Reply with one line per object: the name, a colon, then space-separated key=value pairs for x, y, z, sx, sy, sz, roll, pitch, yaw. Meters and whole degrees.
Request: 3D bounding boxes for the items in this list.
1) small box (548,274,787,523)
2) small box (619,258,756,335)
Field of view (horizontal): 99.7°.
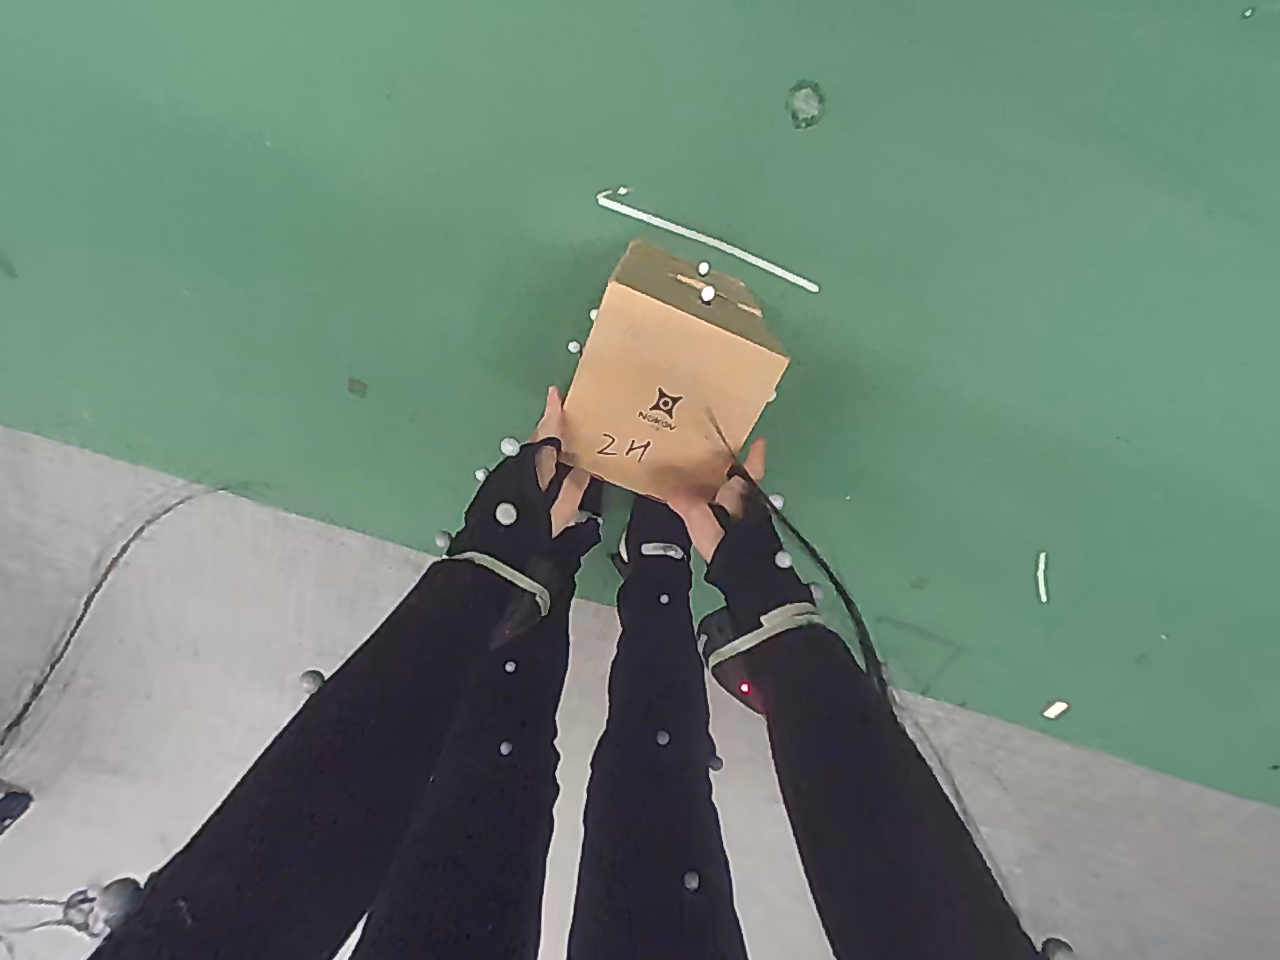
small box: x=0.022 y=-0.092 z=0.558 sx=0.168 sy=0.176 sz=0.179 roll=22 pitch=117 yaw=-8
small box: x=0.032 y=-0.169 z=0.704 sx=0.168 sy=0.176 sz=0.179 roll=19 pitch=117 yaw=-7
